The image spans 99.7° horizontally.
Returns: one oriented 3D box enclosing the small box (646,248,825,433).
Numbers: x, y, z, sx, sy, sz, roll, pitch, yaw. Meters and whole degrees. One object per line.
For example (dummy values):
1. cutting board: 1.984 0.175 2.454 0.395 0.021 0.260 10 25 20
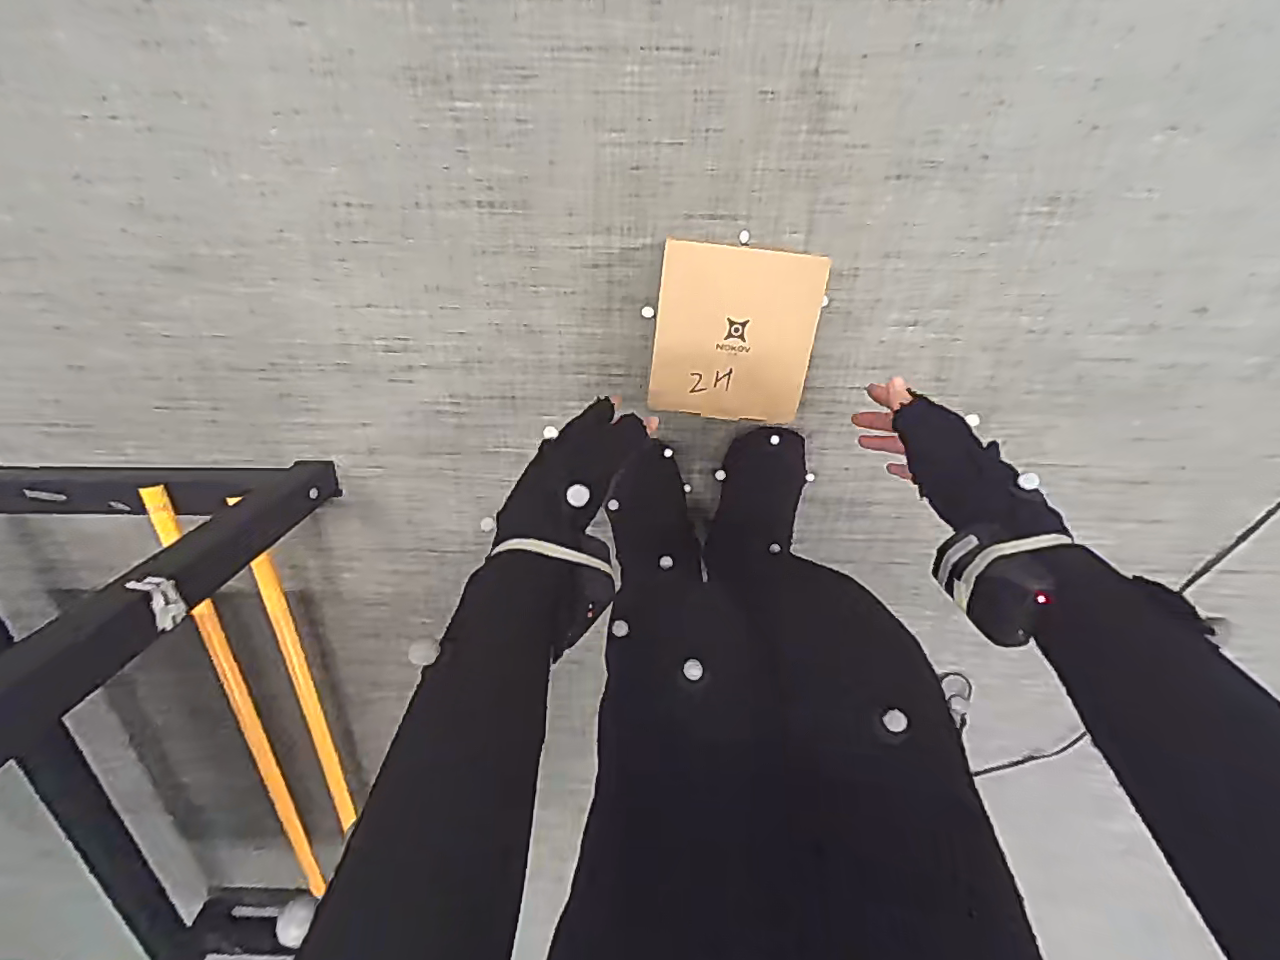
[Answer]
1. small box: 0.097 -0.172 0.639 0.168 0.176 0.179 6 114 -1
